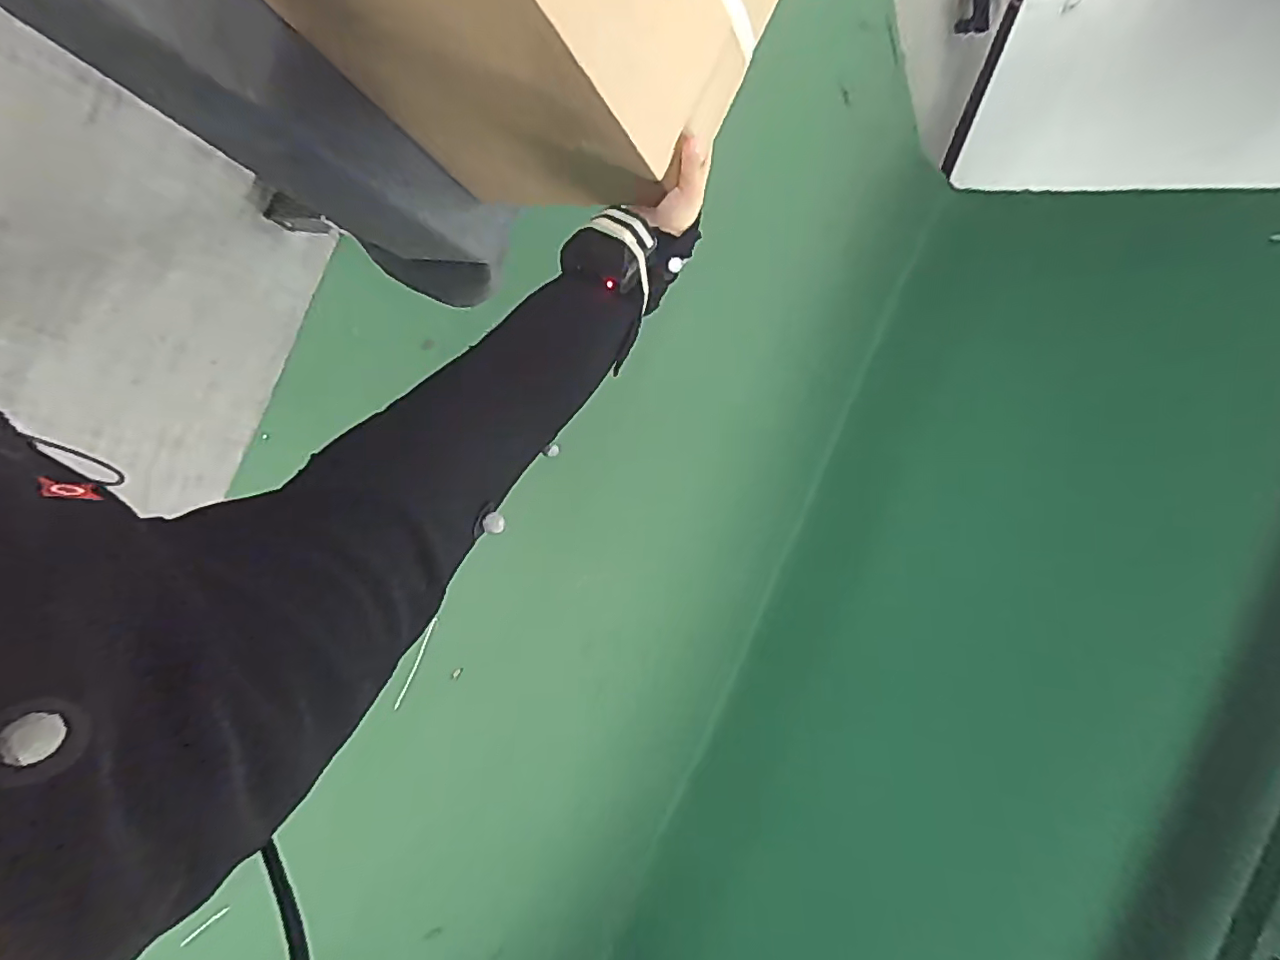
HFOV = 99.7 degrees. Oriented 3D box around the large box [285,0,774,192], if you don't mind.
[{"bbox_3d":[-0.117,-0.497,0.424,0.408,0.320,0.320,29,86,-55],"label":"large box"}]
